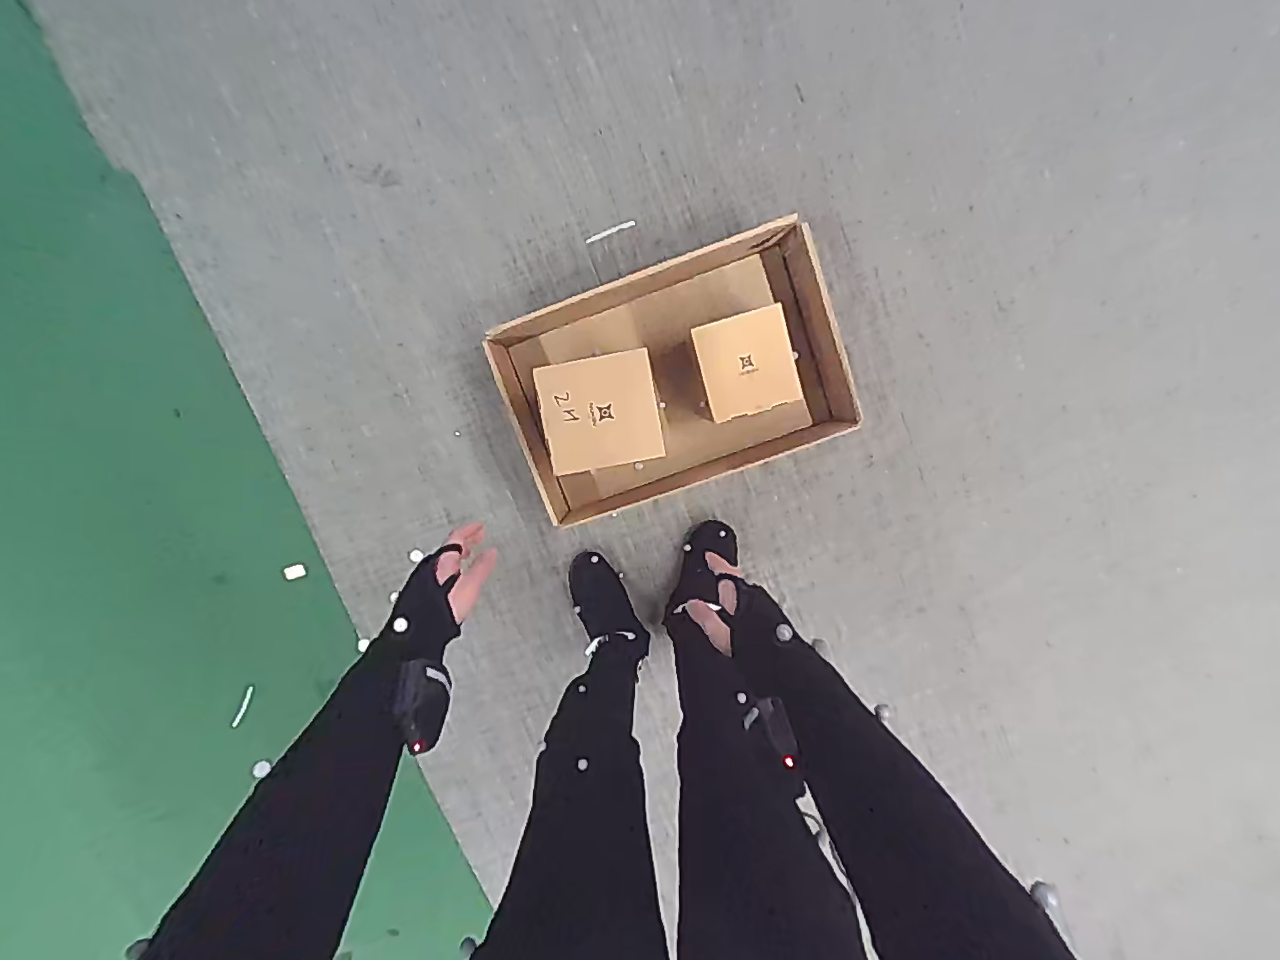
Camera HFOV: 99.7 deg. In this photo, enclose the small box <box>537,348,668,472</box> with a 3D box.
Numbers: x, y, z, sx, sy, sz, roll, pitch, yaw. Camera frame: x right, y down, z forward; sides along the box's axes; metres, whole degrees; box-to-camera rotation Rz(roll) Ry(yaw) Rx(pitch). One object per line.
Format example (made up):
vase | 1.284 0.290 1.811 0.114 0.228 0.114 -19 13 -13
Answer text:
small box | -0.056 -0.115 0.885 0.179 0.176 0.168 -10 97 2
